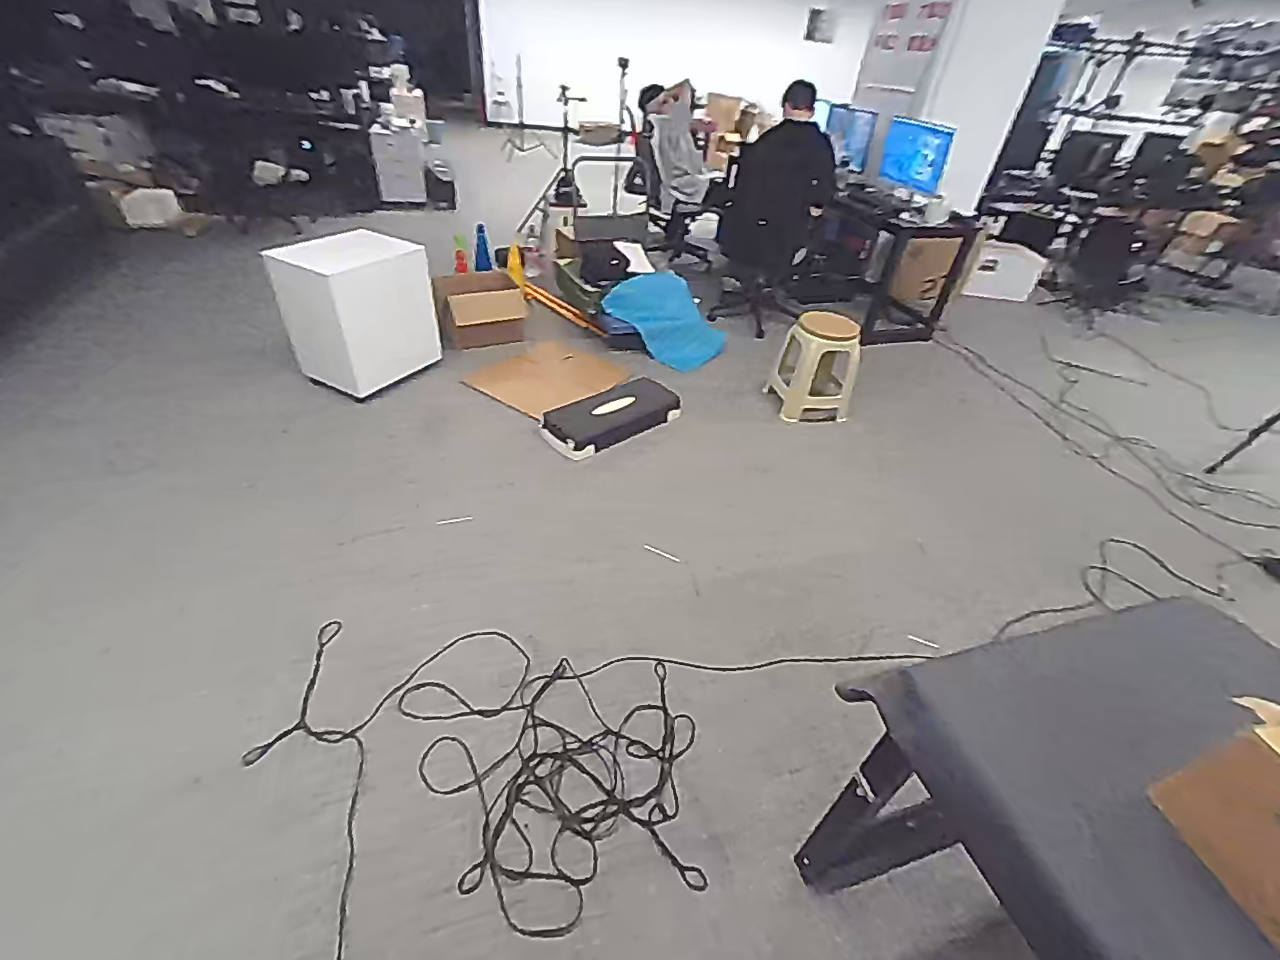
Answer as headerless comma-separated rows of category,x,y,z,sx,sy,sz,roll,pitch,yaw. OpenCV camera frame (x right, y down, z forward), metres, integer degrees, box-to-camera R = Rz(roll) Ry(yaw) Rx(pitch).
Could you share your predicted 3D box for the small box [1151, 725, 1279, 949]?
small box,0.726,0.379,0.570,0.168,0.176,0.179,-2,38,-11
